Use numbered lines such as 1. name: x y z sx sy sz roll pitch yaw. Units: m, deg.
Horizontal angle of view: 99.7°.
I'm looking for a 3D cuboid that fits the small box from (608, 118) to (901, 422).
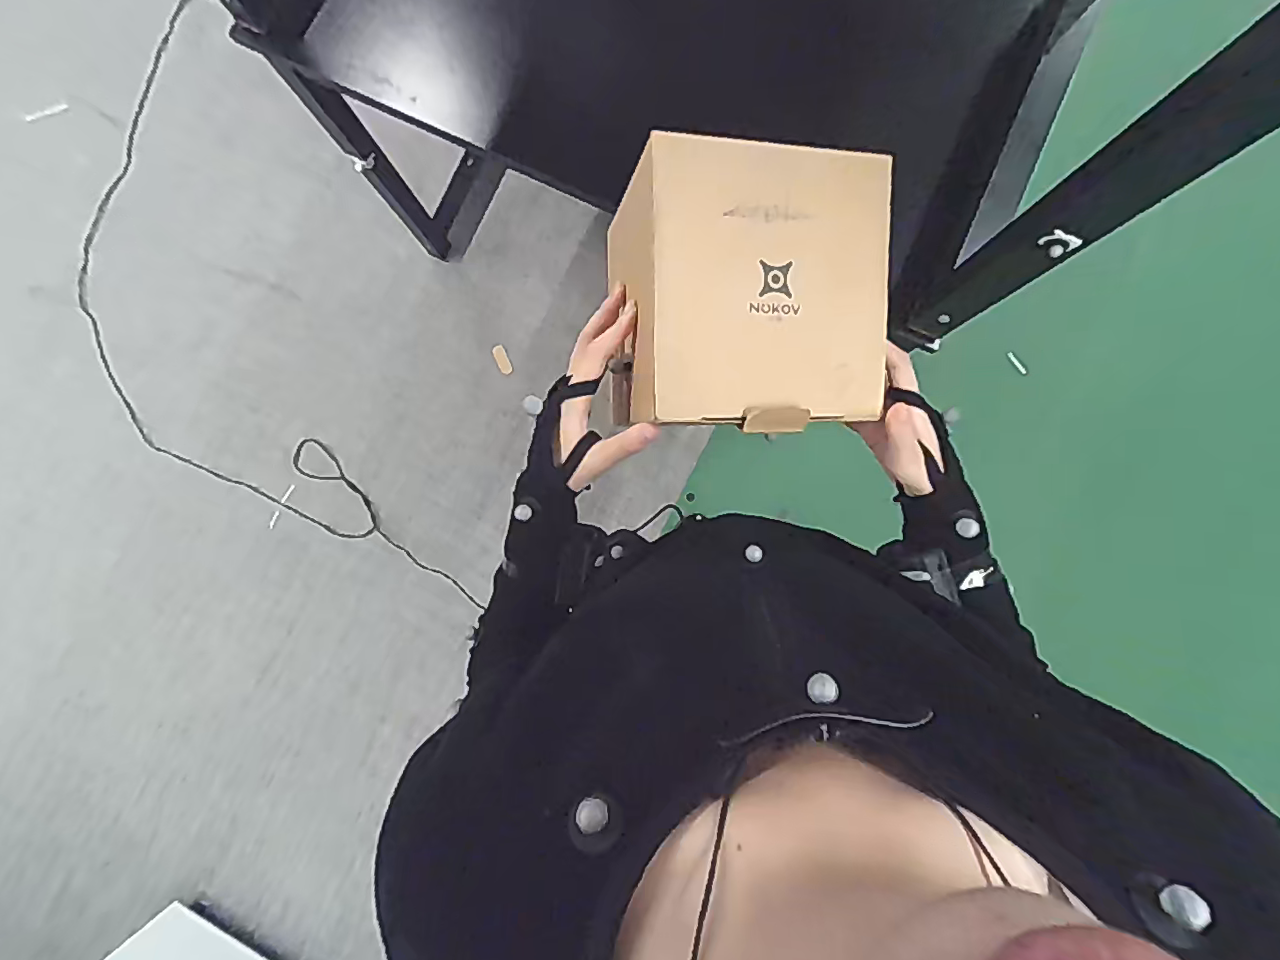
1. small box: 0.070 -0.134 0.415 0.168 0.176 0.179 -3 96 -13
